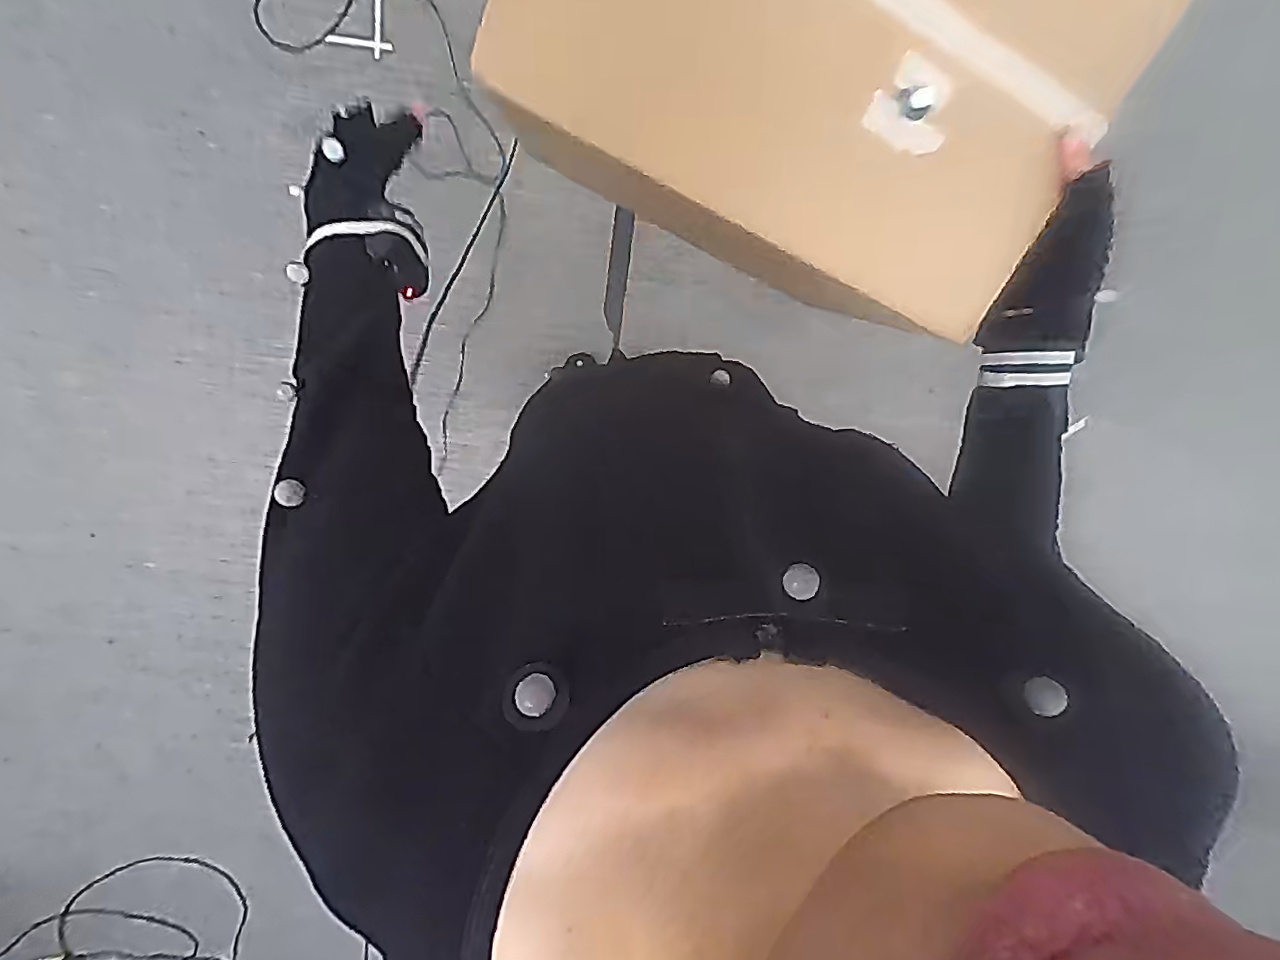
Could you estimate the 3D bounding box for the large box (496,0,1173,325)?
[{"bbox_3d":[0.130,-0.380,0.483,0.408,0.320,0.320,22,110,-14],"label":"large box"}]
